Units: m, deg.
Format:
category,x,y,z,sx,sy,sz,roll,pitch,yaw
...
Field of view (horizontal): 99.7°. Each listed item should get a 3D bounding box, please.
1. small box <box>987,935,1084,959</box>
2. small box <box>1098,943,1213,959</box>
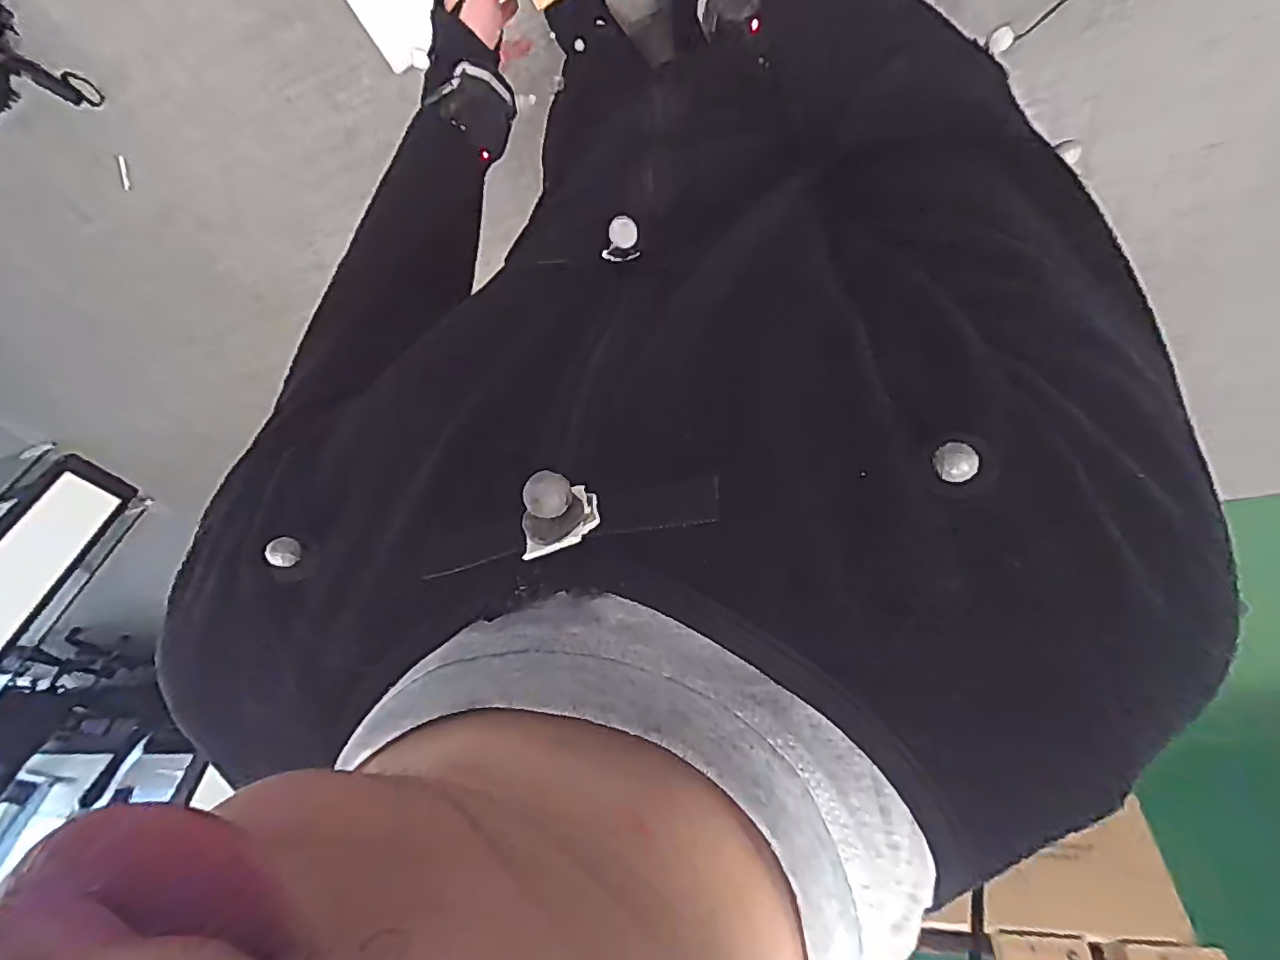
category,x,y,z,sx,sy,sz,roll,pitch,yaw
small box,0.880,1.108,1.180,0.168,0.176,0.179,-10,139,19
small box,1.087,1.065,1.106,0.168,0.176,0.179,-11,139,15
